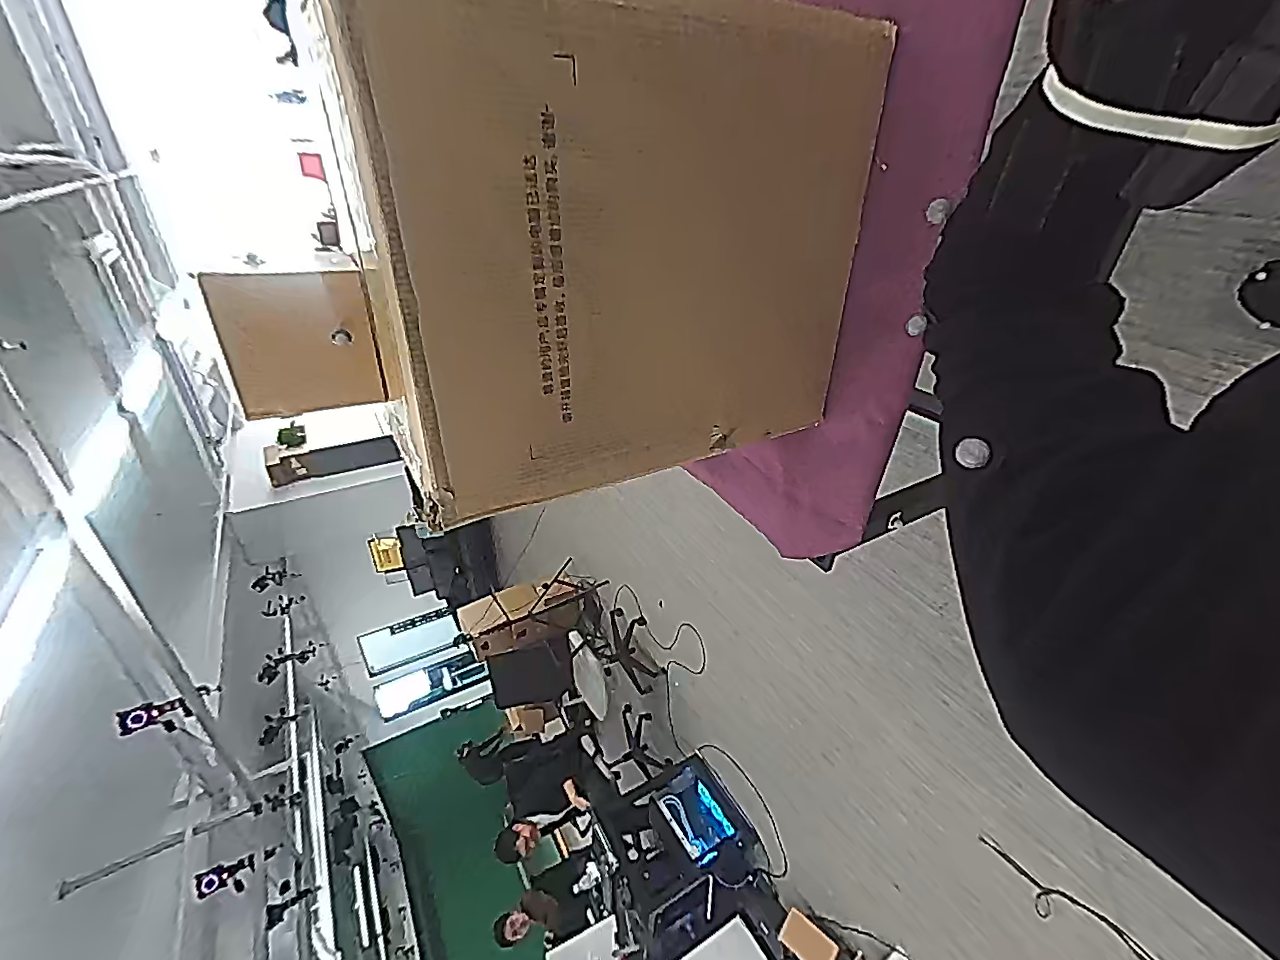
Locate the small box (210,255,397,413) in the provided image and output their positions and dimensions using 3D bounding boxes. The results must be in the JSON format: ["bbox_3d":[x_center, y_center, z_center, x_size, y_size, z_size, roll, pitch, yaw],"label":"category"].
[{"bbox_3d":[-0.444,-0.200,0.730,0.168,0.176,0.179,42,138,47],"label":"small box"}]
